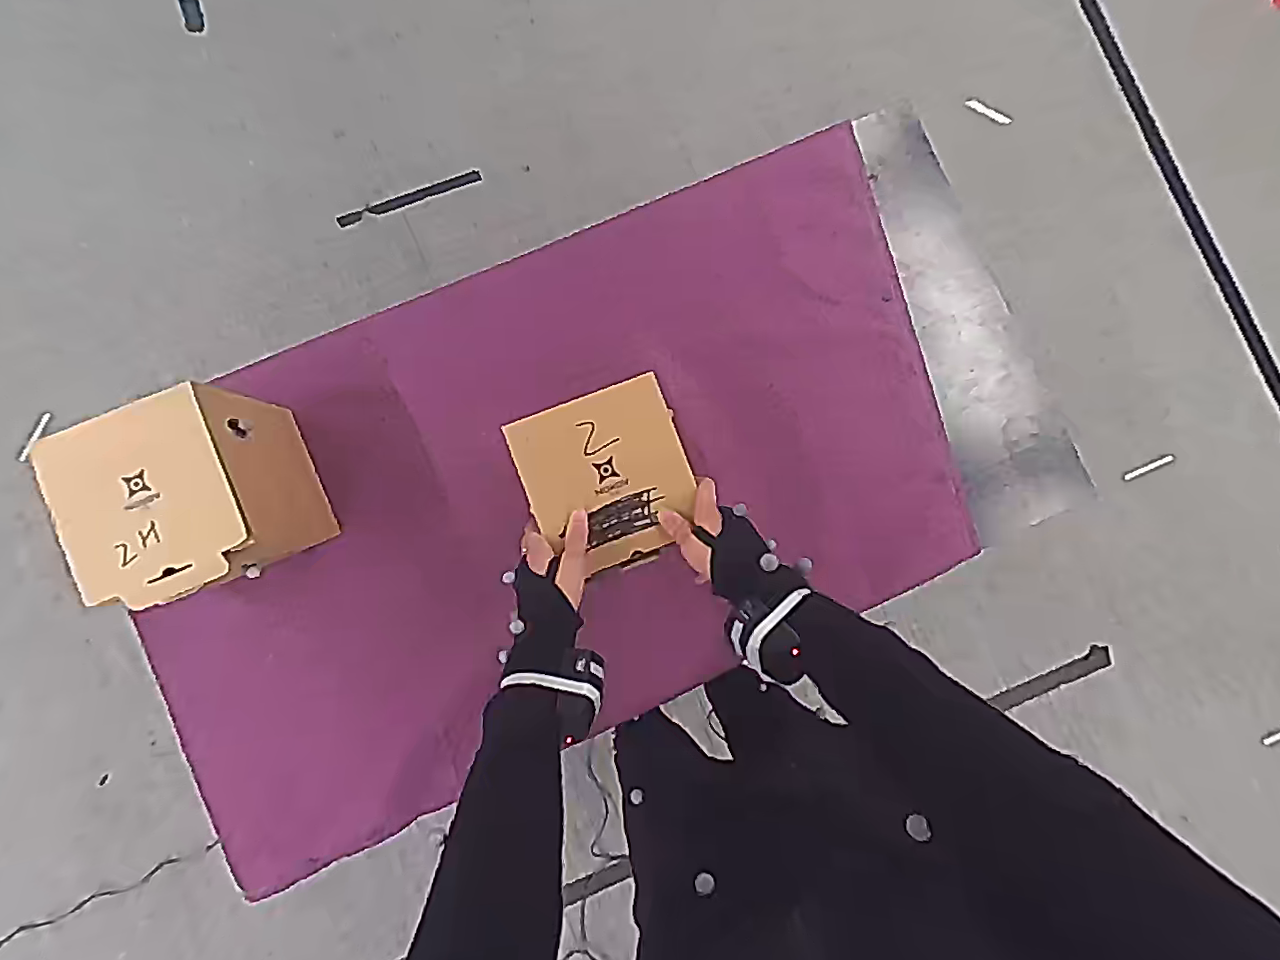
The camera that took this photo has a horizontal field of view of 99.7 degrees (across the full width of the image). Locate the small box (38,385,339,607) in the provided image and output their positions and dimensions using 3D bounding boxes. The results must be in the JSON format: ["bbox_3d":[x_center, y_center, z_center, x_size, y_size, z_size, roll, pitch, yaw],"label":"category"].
[{"bbox_3d":[-0.482,0.019,0.607,0.168,0.176,0.179,-23,88,-3],"label":"small box"}]
